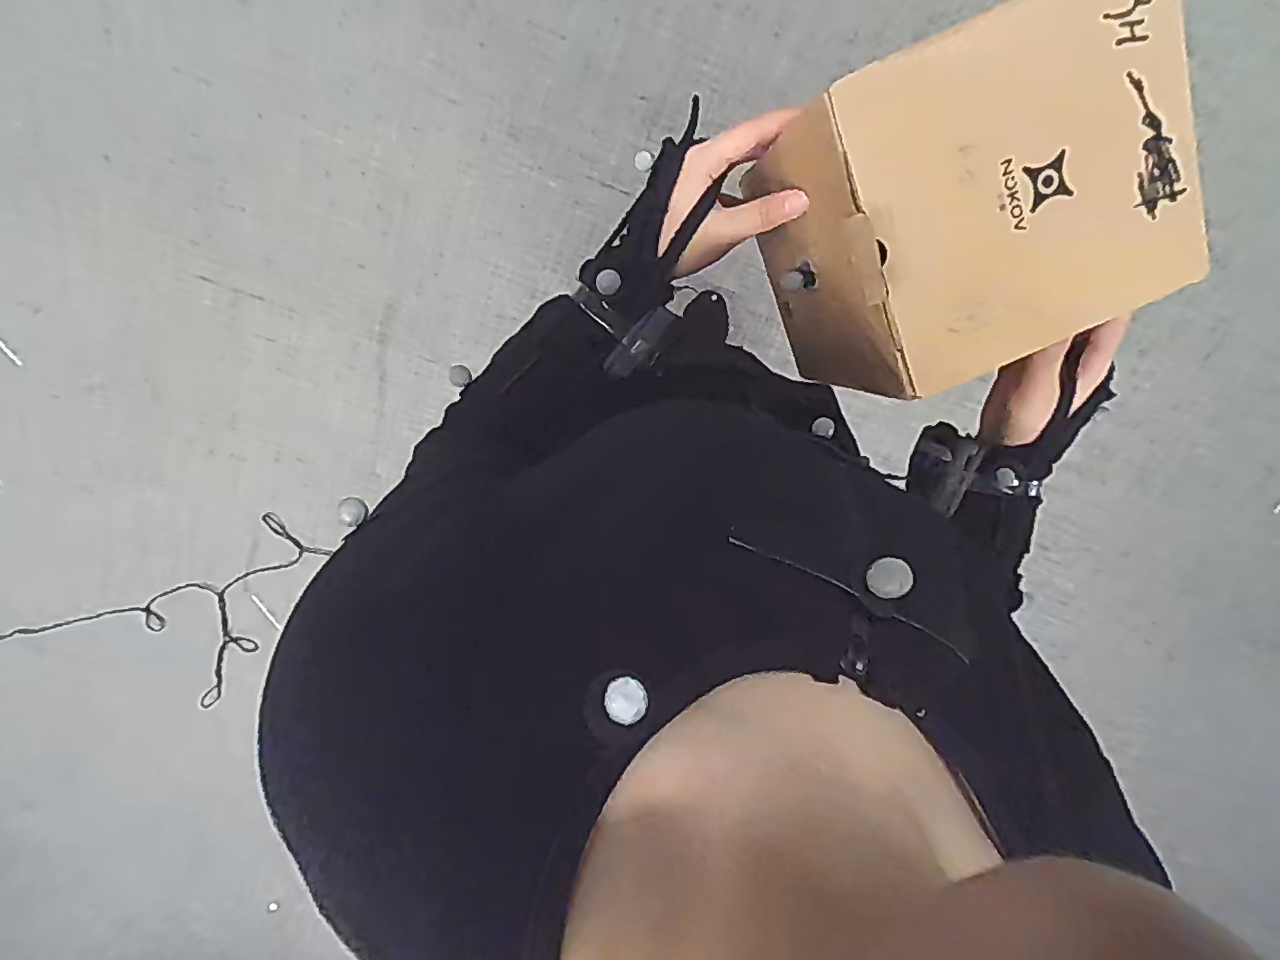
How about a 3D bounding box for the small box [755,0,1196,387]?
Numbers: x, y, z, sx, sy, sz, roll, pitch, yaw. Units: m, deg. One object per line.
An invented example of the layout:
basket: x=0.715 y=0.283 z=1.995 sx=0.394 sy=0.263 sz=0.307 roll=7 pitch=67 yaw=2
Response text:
small box: x=0.189 y=-0.174 z=0.358 sx=0.179 sy=0.176 sz=0.168 roll=-23 pitch=105 yaw=3
